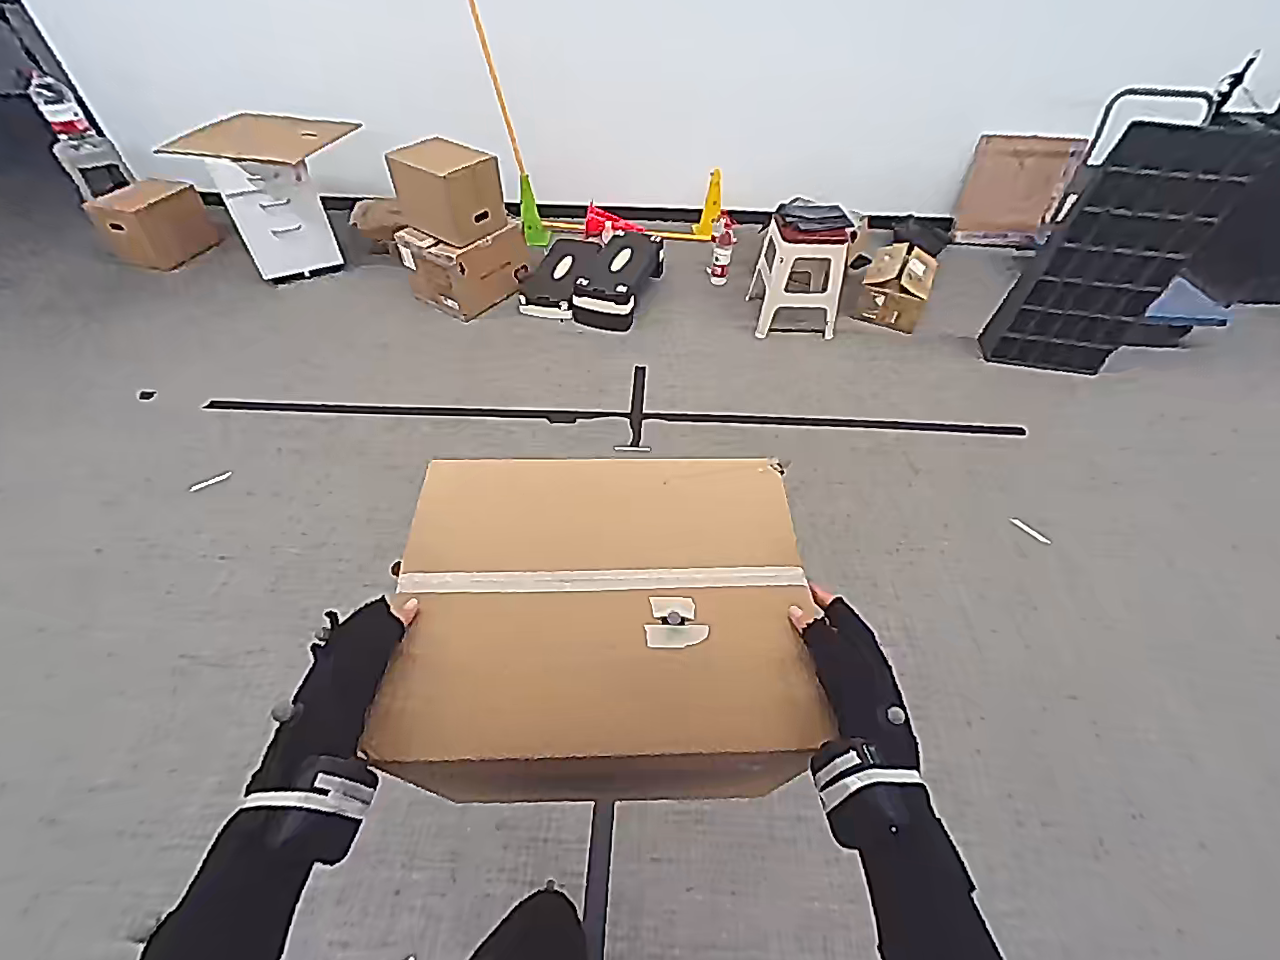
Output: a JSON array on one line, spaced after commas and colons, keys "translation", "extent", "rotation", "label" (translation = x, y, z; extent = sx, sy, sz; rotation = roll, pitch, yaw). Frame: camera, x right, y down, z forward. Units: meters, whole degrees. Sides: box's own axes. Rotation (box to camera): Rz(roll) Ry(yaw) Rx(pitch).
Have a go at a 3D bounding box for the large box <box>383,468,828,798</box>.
[{"translation": [-0.039, 0.198, 0.682], "extent": [0.408, 0.320, 0.320], "rotation": [0, 54, -3], "label": "large box"}]
